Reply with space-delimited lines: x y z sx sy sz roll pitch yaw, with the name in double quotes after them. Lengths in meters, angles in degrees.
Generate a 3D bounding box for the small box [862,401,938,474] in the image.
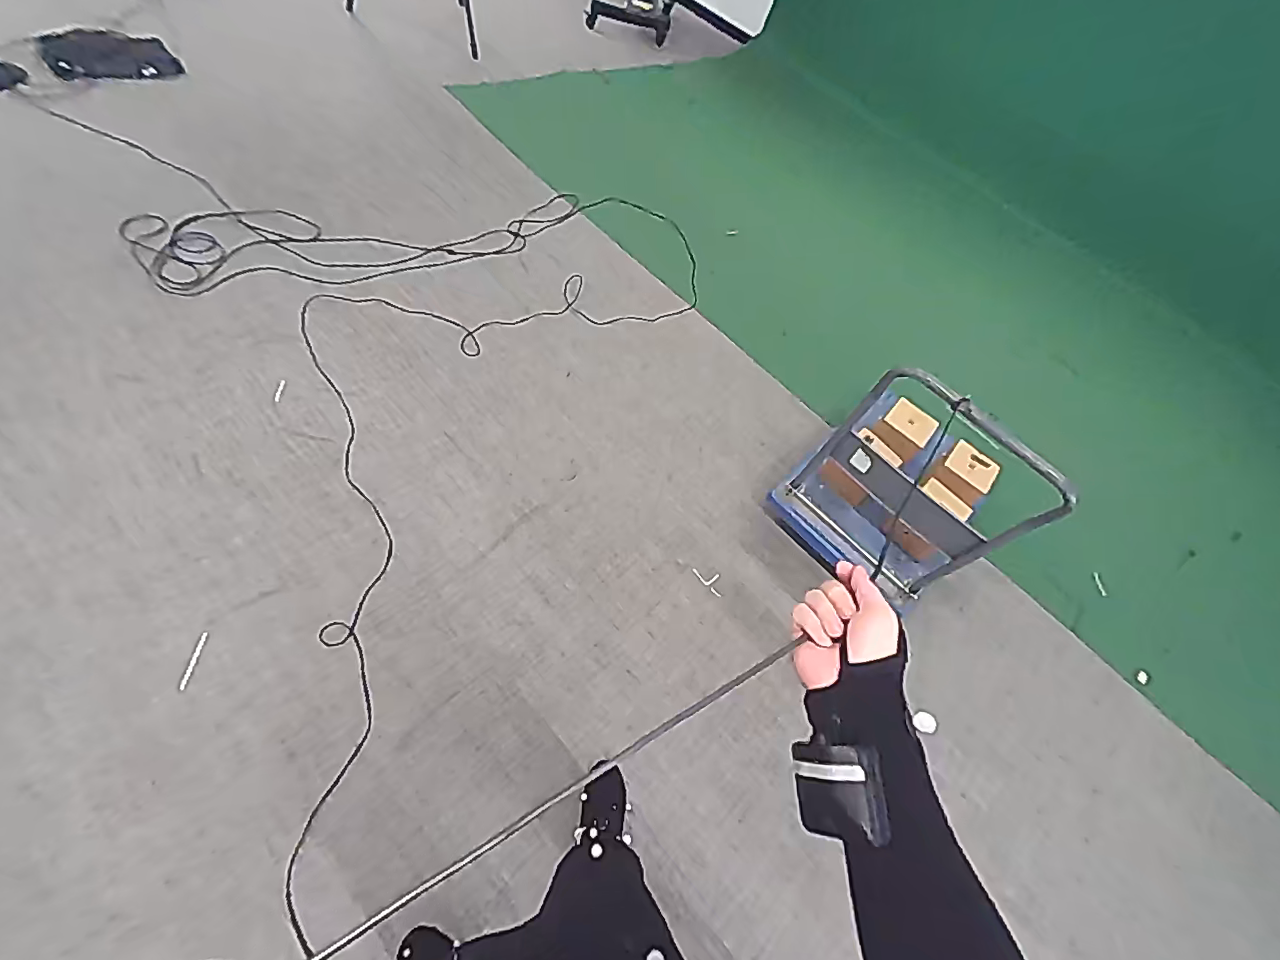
0.958 -0.154 2.010 0.168 0.176 0.179 42 57 12 "small box"

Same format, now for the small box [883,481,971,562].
0.955 0.142 1.814 0.179 0.176 0.168 -35 72 -30 "small box"

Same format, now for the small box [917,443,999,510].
1.143 0.007 1.954 0.168 0.176 0.179 41 57 14 "small box"
